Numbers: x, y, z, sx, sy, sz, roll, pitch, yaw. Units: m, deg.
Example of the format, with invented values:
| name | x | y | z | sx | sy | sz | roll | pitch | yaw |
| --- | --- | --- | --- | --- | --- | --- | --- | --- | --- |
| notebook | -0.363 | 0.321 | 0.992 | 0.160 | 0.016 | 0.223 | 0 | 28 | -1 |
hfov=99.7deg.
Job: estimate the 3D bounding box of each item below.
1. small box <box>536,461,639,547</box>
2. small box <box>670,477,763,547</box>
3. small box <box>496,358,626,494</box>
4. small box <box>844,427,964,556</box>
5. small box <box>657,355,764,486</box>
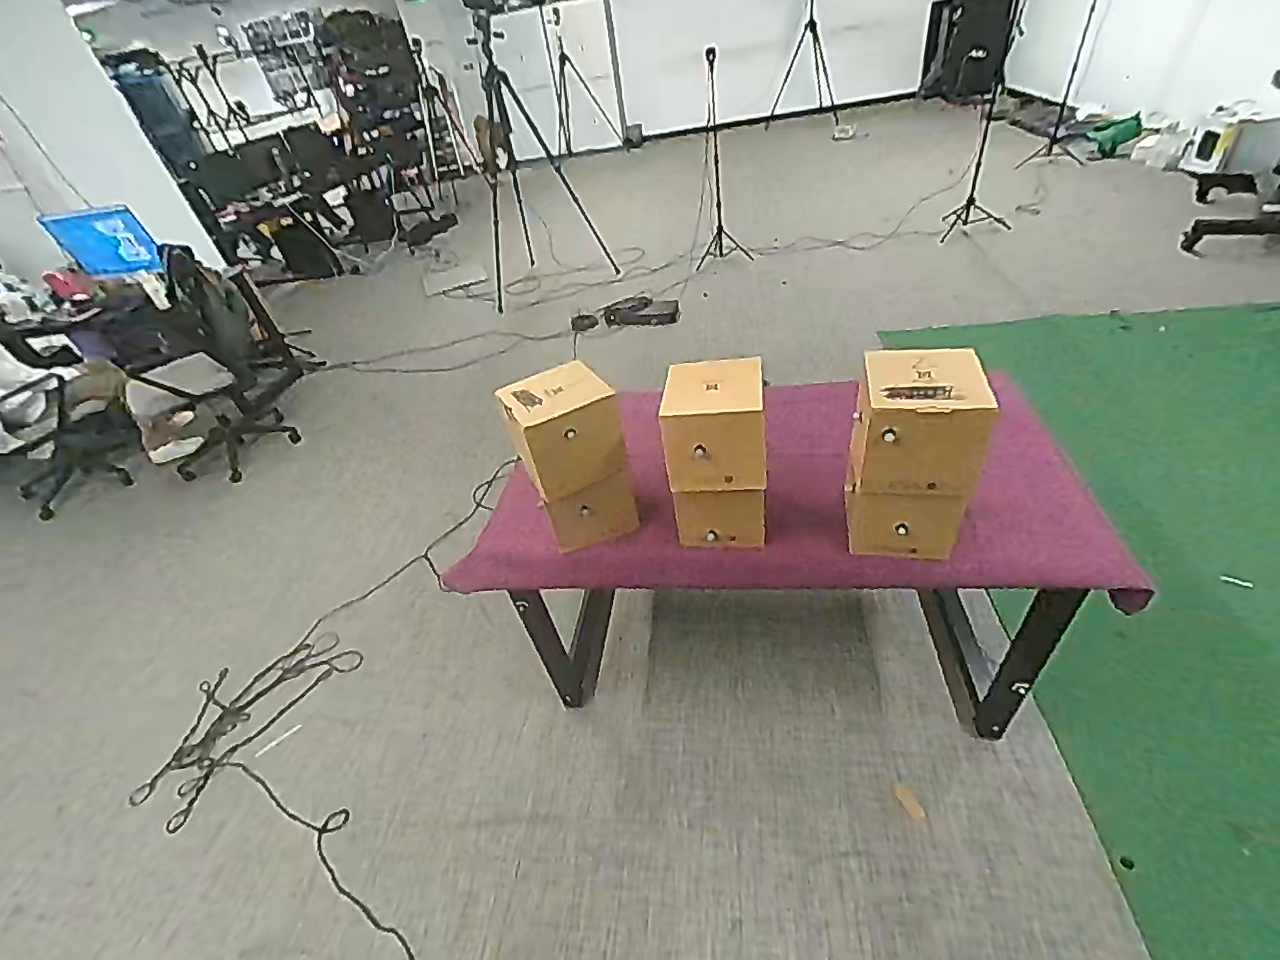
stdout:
| name | x | y | z | sx | sy | sz | roll | pitch | yaw |
| --- | --- | --- | --- | --- | --- | --- | --- | --- | --- |
| small box | -0.116 | 0.014 | 1.134 | 0.179 | 0.176 | 0.168 | -17 | 40 | -7 |
| small box | 0.159 | 0.012 | 1.076 | 0.168 | 0.176 | 0.179 | -1 | 40 | 13 |
| small box | -0.144 | -0.100 | 1.017 | 0.179 | 0.176 | 0.168 | -24 | 41 | -17 |
| small box | 0.471 | 0.020 | 0.991 | 0.168 | 0.176 | 0.179 | 3 | 42 | 15 |
| small box | 0.133 | -0.101 | 0.960 | 0.168 | 0.176 | 0.179 | -2 | 39 | 13 |
